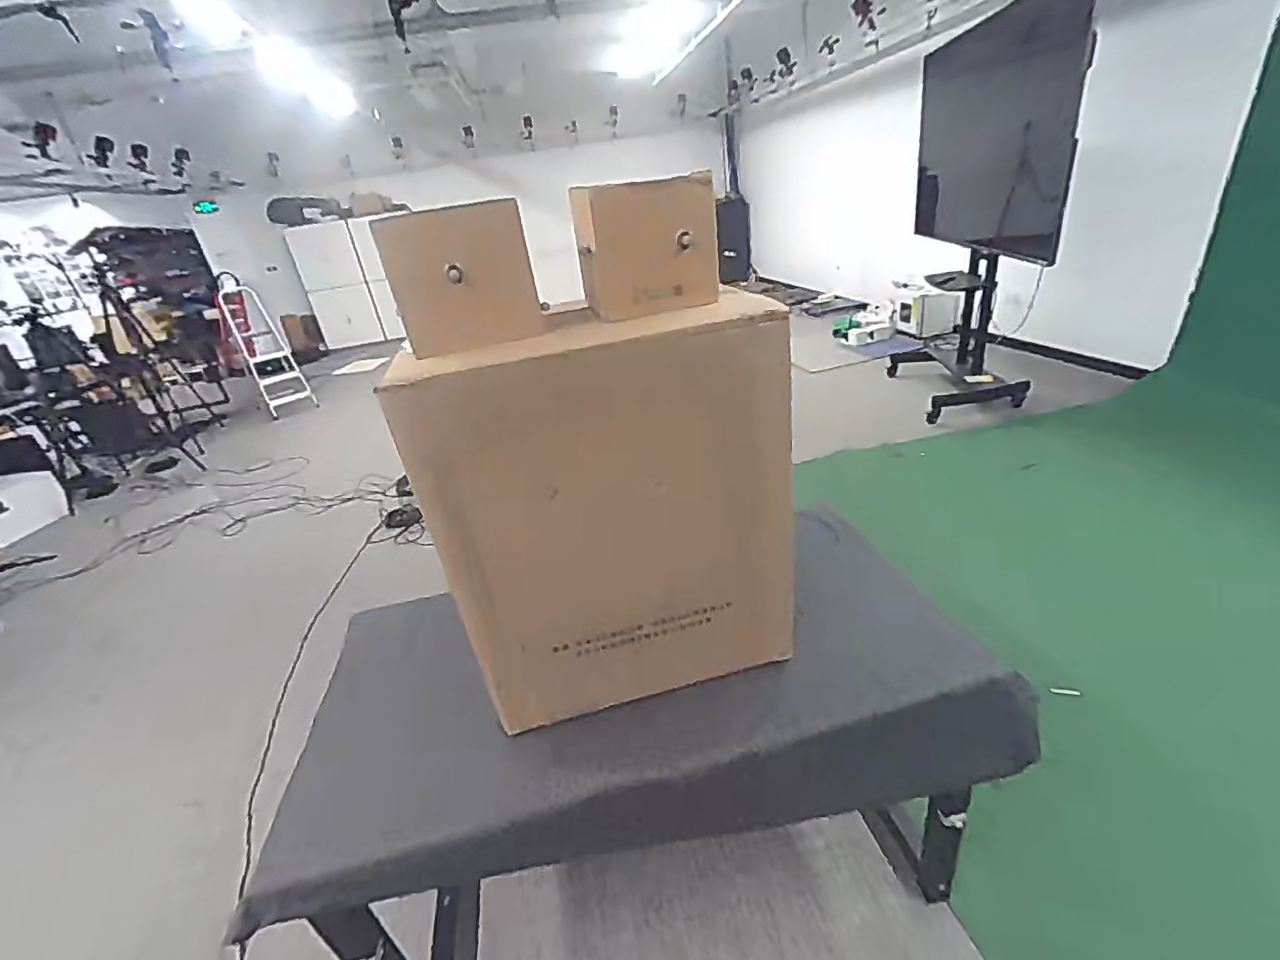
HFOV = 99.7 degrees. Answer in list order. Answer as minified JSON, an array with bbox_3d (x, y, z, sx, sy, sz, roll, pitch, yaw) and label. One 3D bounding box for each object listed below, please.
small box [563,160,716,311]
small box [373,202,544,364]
[{"bbox_3d":[0.000,-0.350,0.778,0.168,0.176,0.179,-16,31,-13],"label":"small box"},{"bbox_3d":[-0.237,-0.277,0.751,0.179,0.176,0.168,-16,30,-8],"label":"small box"}]
